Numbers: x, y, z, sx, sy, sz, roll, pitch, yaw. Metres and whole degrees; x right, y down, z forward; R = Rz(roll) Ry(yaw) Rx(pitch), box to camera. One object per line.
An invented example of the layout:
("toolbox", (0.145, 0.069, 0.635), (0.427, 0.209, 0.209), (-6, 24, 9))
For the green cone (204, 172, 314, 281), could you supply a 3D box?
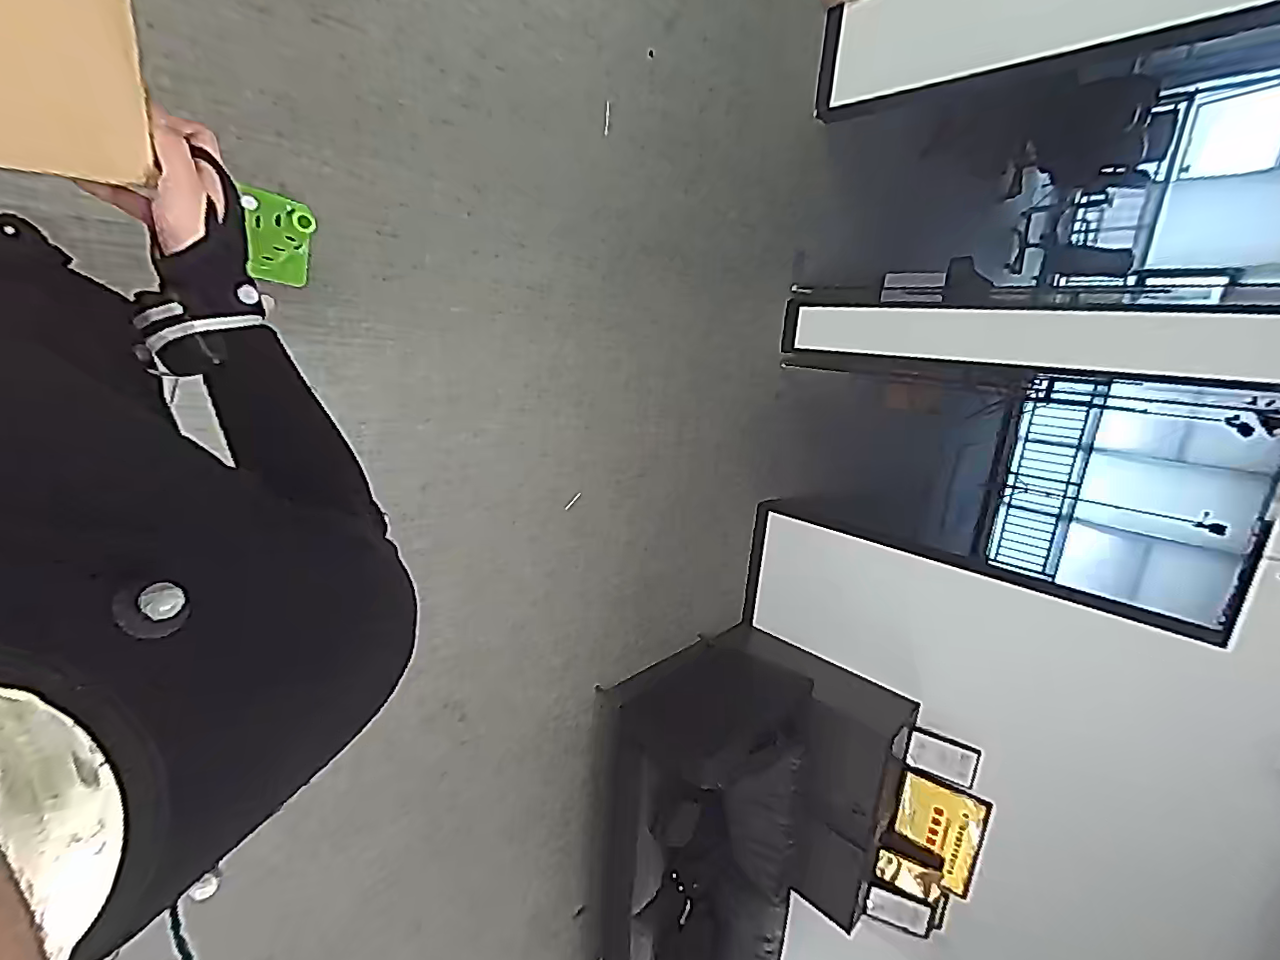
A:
("green cone", (-0.786, -0.560, 1.176), (0.200, 0.368, 0.202), (-1, 103, -48))
